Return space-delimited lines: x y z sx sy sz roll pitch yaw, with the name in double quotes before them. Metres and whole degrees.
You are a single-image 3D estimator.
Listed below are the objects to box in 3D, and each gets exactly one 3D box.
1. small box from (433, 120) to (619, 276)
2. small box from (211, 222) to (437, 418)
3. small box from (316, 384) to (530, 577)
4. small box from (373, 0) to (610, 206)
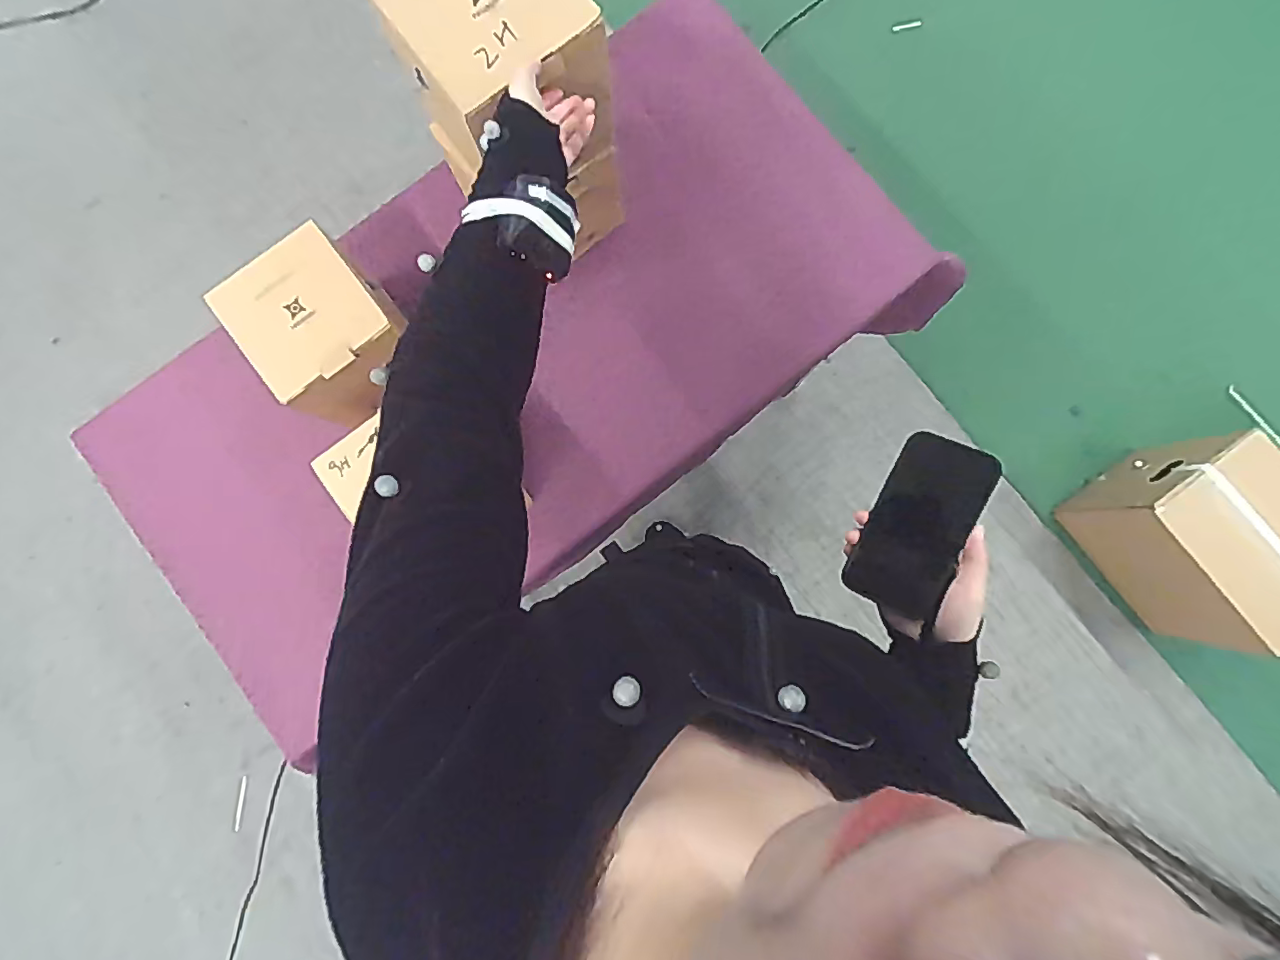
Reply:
"small box" -0.146 -0.425 0.756 0.168 0.176 0.179 -40 86 -2
"small box" -0.415 -0.202 0.745 0.168 0.176 0.179 -38 85 -3
"small box" -0.271 0.004 0.721 0.168 0.176 0.179 -37 85 -2
"small box" -0.150 -0.449 0.592 0.168 0.176 0.179 -38 86 -1
